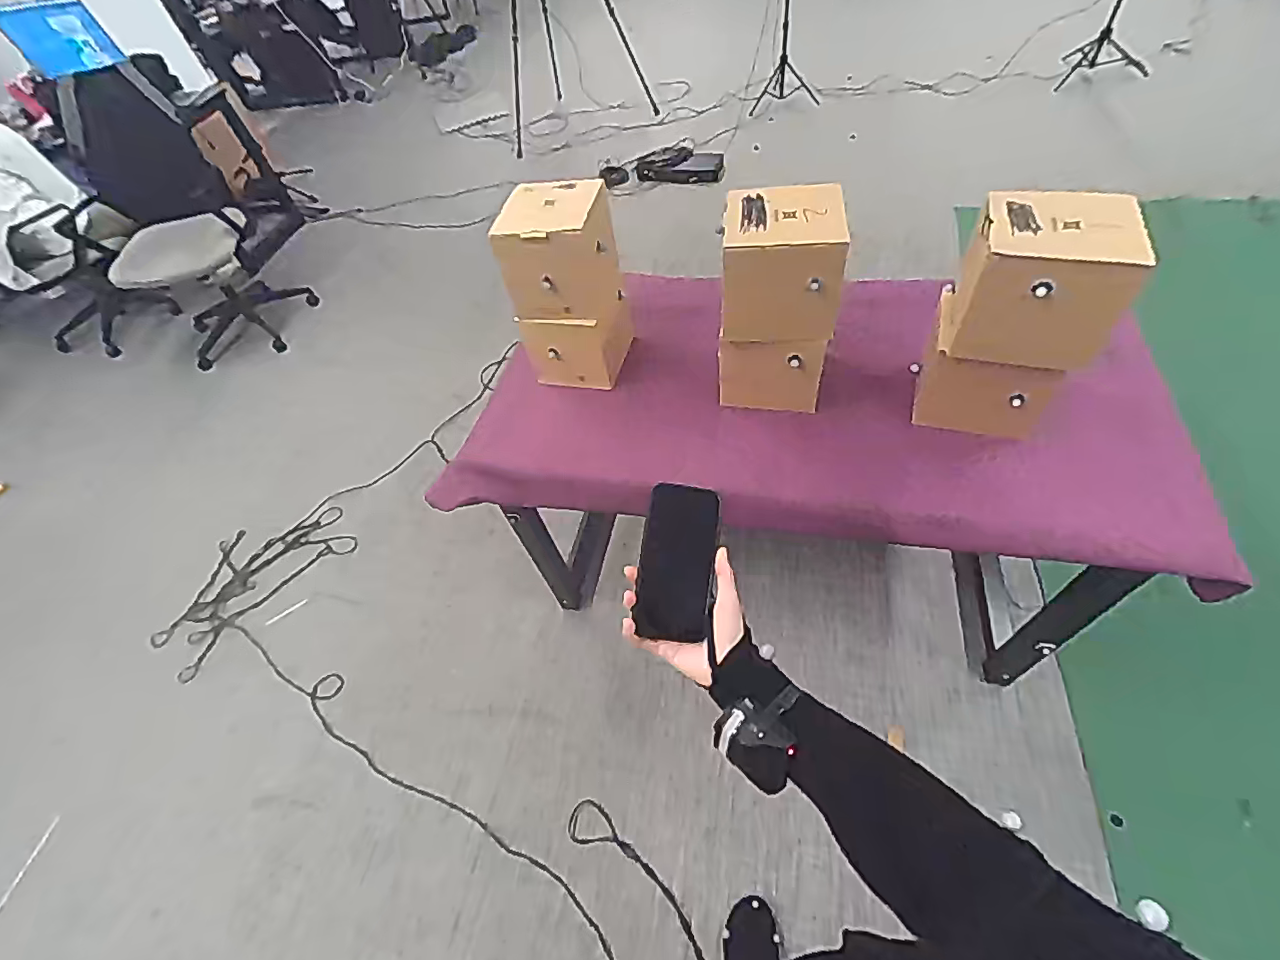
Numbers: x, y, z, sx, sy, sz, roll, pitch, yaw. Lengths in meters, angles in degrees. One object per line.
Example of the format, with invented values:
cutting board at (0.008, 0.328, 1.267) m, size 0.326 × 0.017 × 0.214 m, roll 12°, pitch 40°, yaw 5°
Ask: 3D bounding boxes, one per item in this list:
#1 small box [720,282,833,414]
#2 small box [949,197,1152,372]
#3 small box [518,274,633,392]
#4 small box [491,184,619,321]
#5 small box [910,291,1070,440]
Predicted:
small box at (0.248, -0.238, 0.992) m, size 0.179 × 0.176 × 0.168 m, roll 7°, pitch 54°, yaw 15°
small box at (0.552, -0.272, 0.758) m, size 0.179 × 0.176 × 0.168 m, roll 12°, pitch 56°, yaw 18°
small box at (-0.121, -0.301, 1.106) m, size 0.168 × 0.176 × 0.179 m, roll 8°, pitch 55°, yaw 15°
small box at (-0.142, -0.406, 0.982) m, size 0.168 × 0.176 × 0.179 m, roll 4°, pitch 54°, yaw 12°
small box at (0.571, -0.186, 0.897) m, size 0.179 × 0.176 × 0.168 m, roll 12°, pitch 56°, yaw 19°
